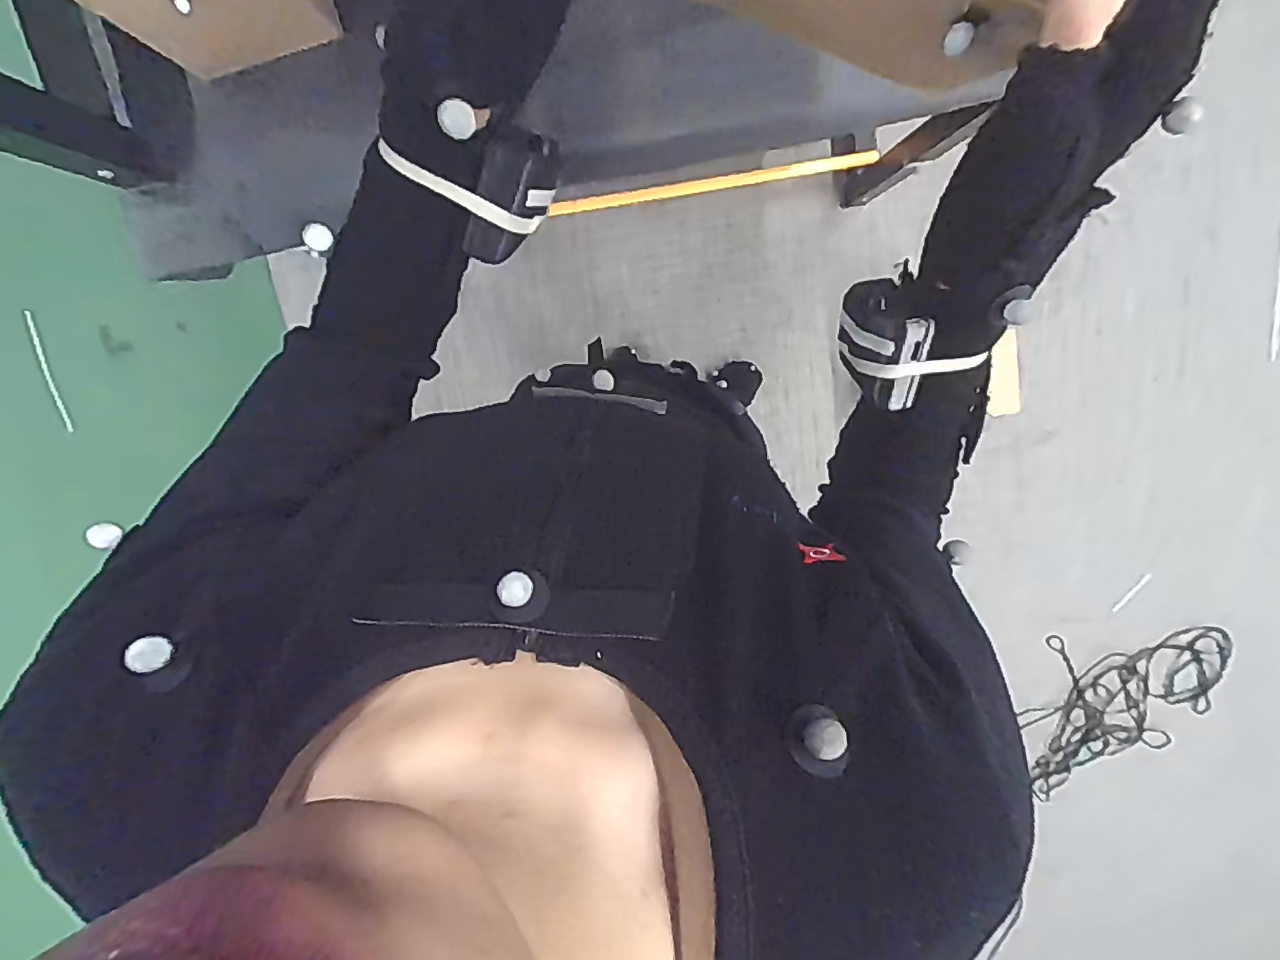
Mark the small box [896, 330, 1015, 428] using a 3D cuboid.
[{"bbox_3d":[0.680,-0.222,1.177,0.168,0.176,0.179,-11,102,3],"label":"small box"}]

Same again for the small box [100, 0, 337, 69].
[{"bbox_3d":[-0.439,-0.540,0.519,0.179,0.176,0.168,-14,104,3],"label":"small box"}]
